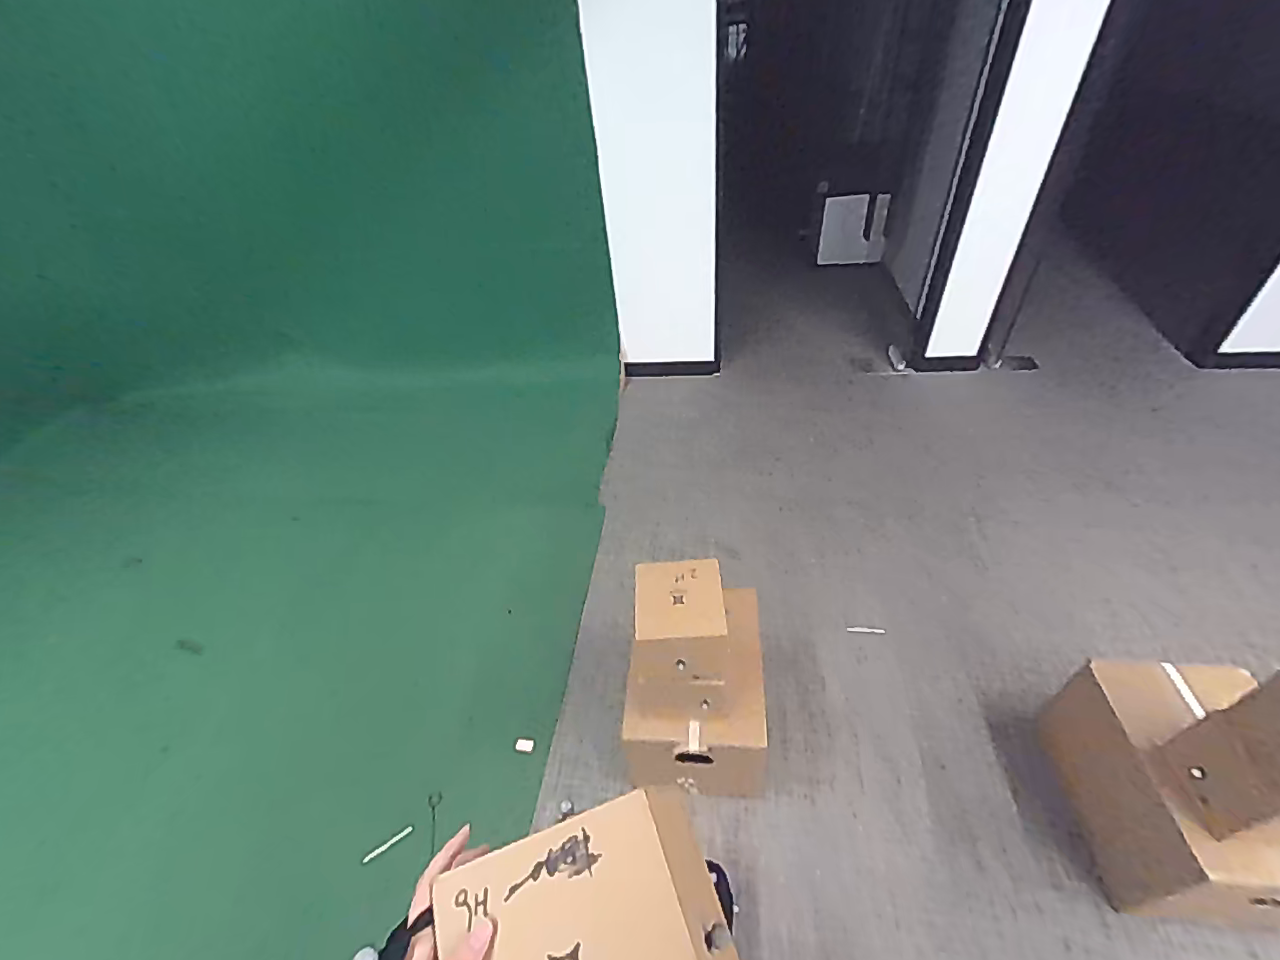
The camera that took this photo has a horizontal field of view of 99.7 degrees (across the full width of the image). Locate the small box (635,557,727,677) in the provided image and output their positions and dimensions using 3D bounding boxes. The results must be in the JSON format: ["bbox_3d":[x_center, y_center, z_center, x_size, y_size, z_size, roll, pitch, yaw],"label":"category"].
[{"bbox_3d":[0.082,0.274,1.067,0.168,0.176,0.179,-3,42,4],"label":"small box"}]

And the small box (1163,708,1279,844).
[{"bbox_3d":[1.087,0.513,0.934,0.179,0.176,0.168,-2,44,7],"label":"small box"}]

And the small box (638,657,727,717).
[{"bbox_3d":[0.096,0.398,1.174,0.179,0.176,0.168,-1,42,8],"label":"small box"}]

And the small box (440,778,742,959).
[{"bbox_3d":[-0.024,0.350,0.412,0.168,0.176,0.179,-23,60,0],"label":"small box"}]

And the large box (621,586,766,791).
[{"bbox_3d":[0.142,0.527,1.389,0.320,0.320,0.408,0,43,7],"label":"large box"}]
